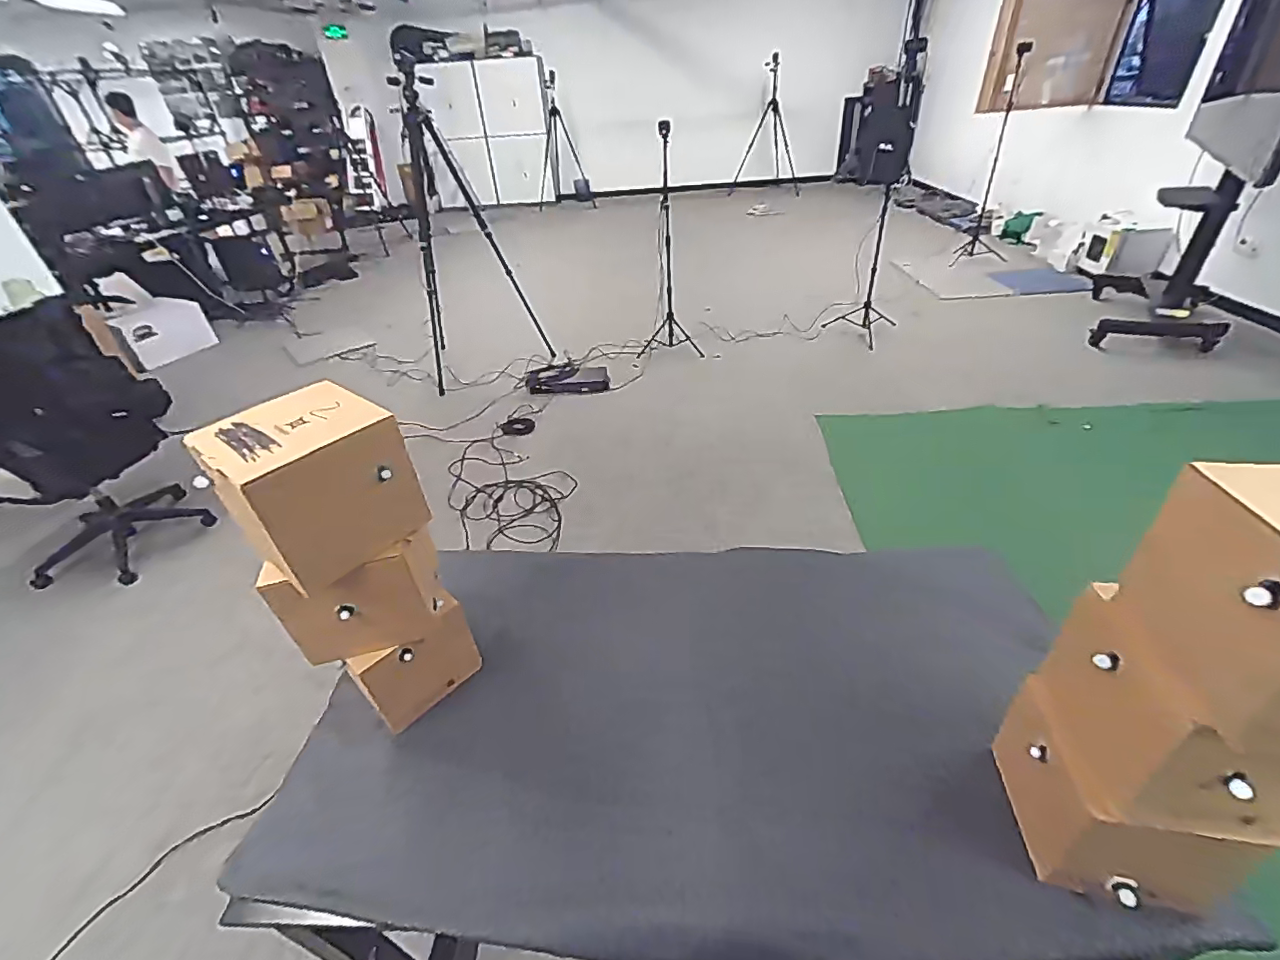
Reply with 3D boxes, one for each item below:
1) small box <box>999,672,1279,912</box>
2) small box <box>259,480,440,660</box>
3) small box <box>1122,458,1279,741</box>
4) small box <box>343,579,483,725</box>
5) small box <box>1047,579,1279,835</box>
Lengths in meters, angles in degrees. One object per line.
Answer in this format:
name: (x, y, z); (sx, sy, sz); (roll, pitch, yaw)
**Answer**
small box: (0.556, 0.359, 0.634); (0.168, 0.176, 0.179); (2, 35, 12)
small box: (-0.398, 0.129, 0.783); (0.179, 0.176, 0.168); (-13, 38, -10)
small box: (0.551, 0.098, 0.433); (0.168, 0.176, 0.179); (2, 33, 11)
small box: (-0.387, 0.258, 0.885); (0.179, 0.176, 0.168); (27, 47, 35)
small box: (0.559, 0.223, 0.544); (0.168, 0.176, 0.179); (1, 33, 10)
